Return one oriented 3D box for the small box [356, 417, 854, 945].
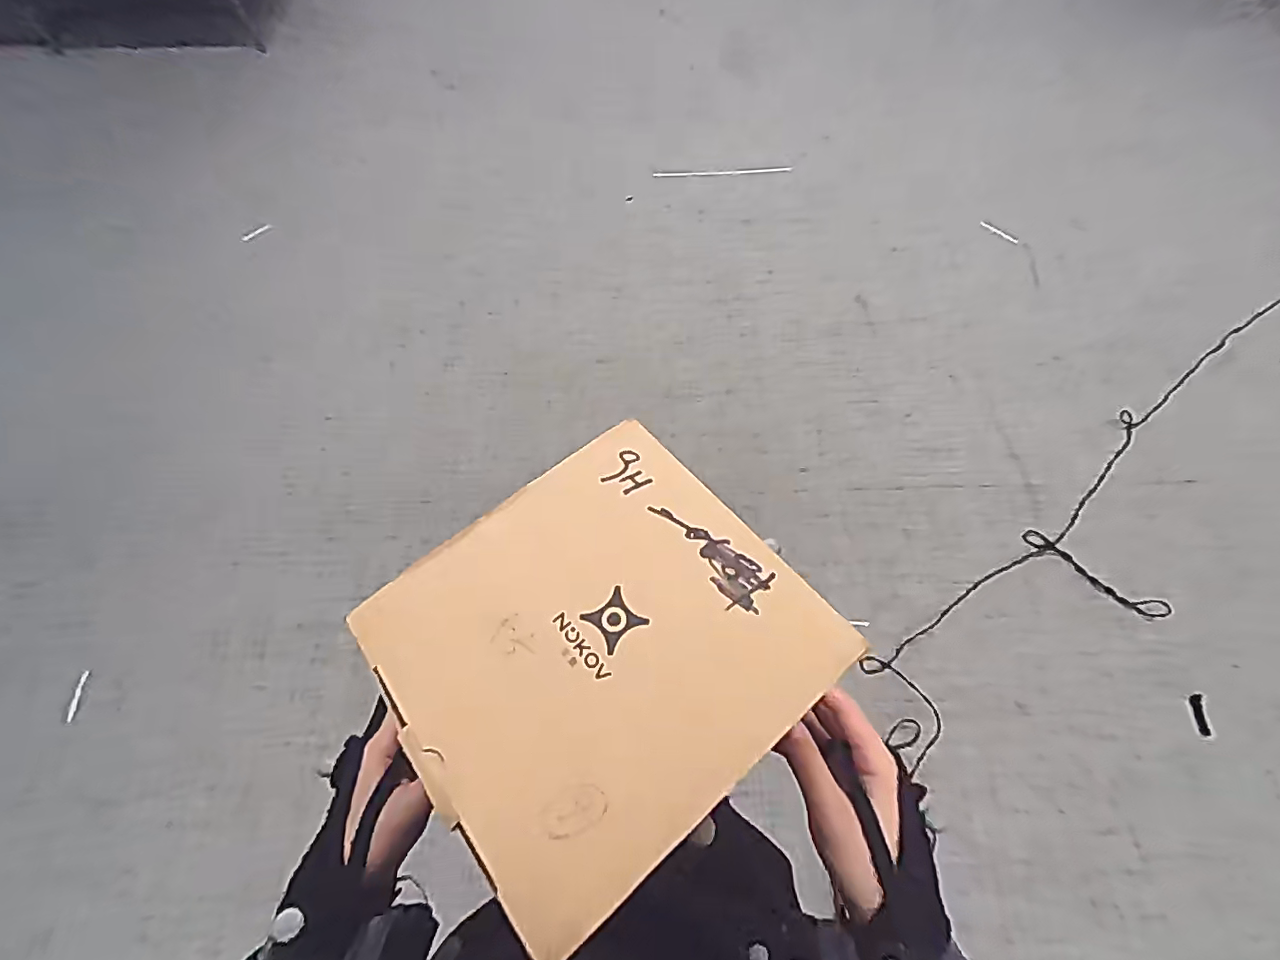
[{"bbox_3d":[-0.015,0.105,0.315,0.179,0.176,0.168,-37,64,-16],"label":"small box"}]
